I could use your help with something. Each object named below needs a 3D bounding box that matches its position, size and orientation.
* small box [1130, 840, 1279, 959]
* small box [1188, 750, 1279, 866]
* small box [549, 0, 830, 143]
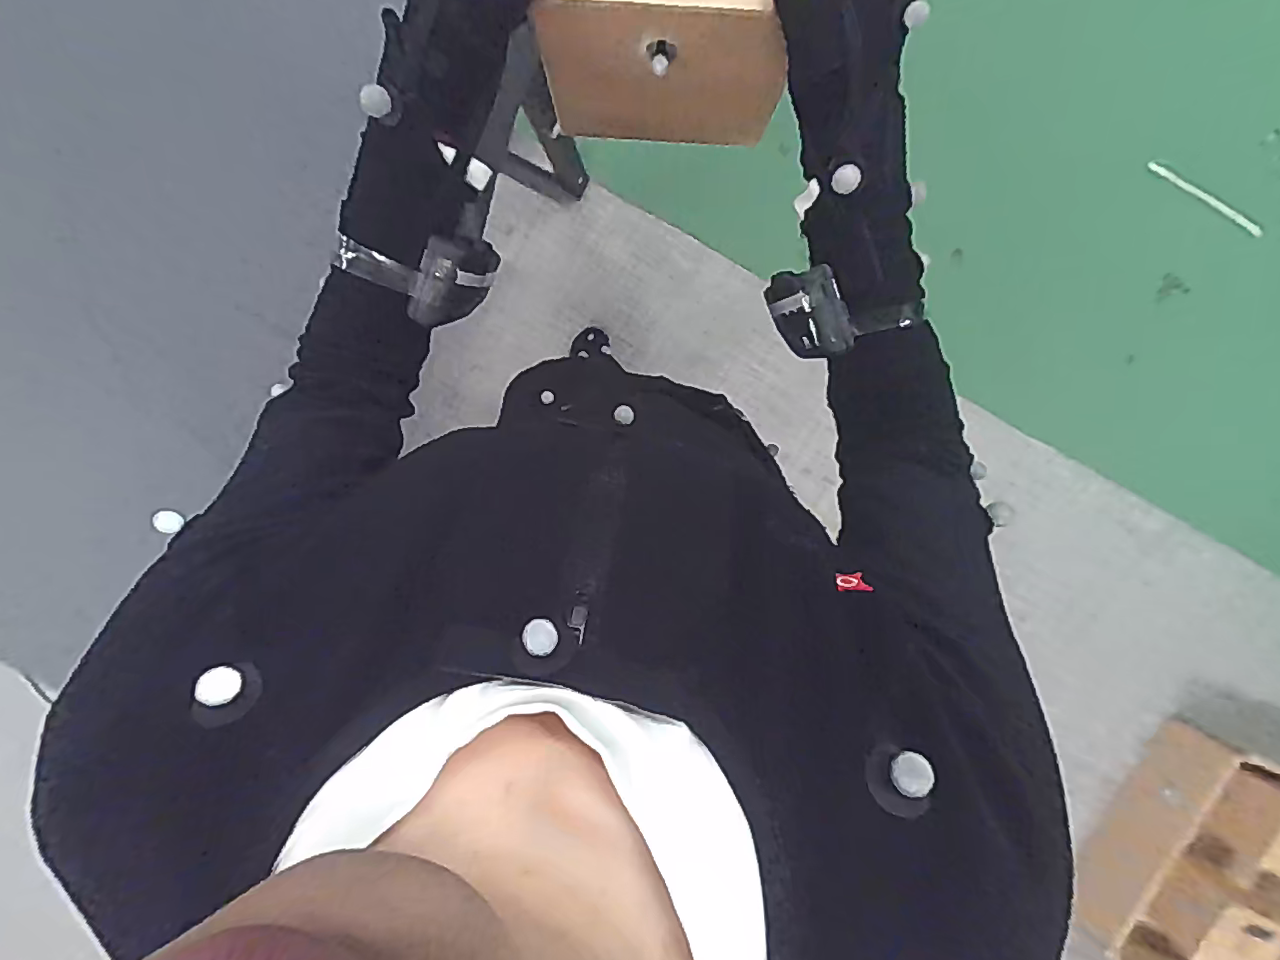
[{"bbox_3d":[1.422,1.071,1.376,0.168,0.176,0.179,25,99,0],"label":"small box"},{"bbox_3d":[1.532,0.814,1.335,0.168,0.176,0.179,20,100,0],"label":"small box"},{"bbox_3d":[0.030,-0.369,0.386,0.179,0.176,0.168,3,99,-2],"label":"small box"}]
